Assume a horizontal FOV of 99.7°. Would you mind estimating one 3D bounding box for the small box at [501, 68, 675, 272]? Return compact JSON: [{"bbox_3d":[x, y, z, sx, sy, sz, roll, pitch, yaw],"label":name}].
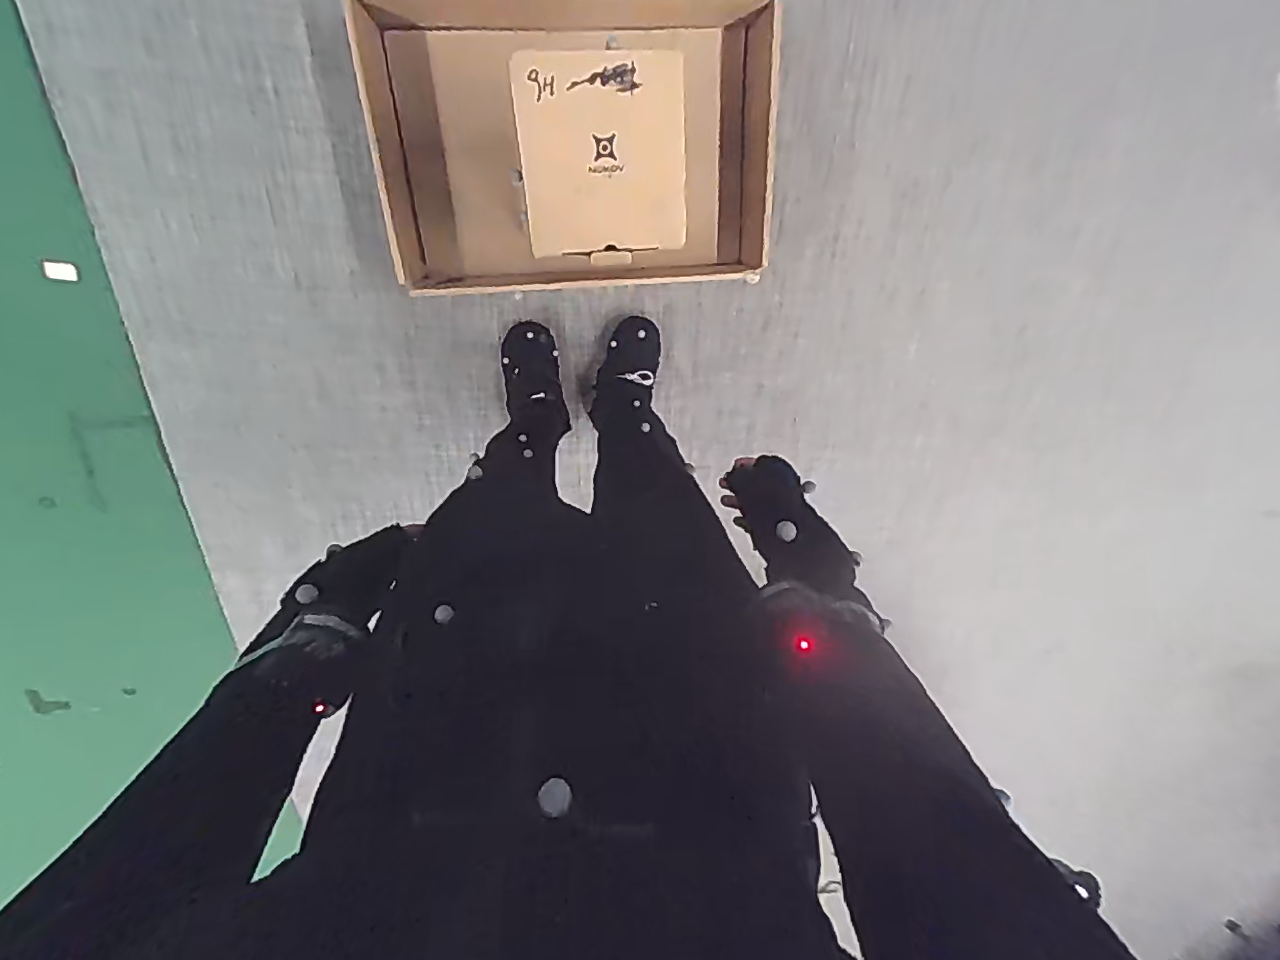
[{"bbox_3d":[-0.057,-0.342,0.618,0.168,0.176,0.179,-7,115,-7],"label":"small box"}]
